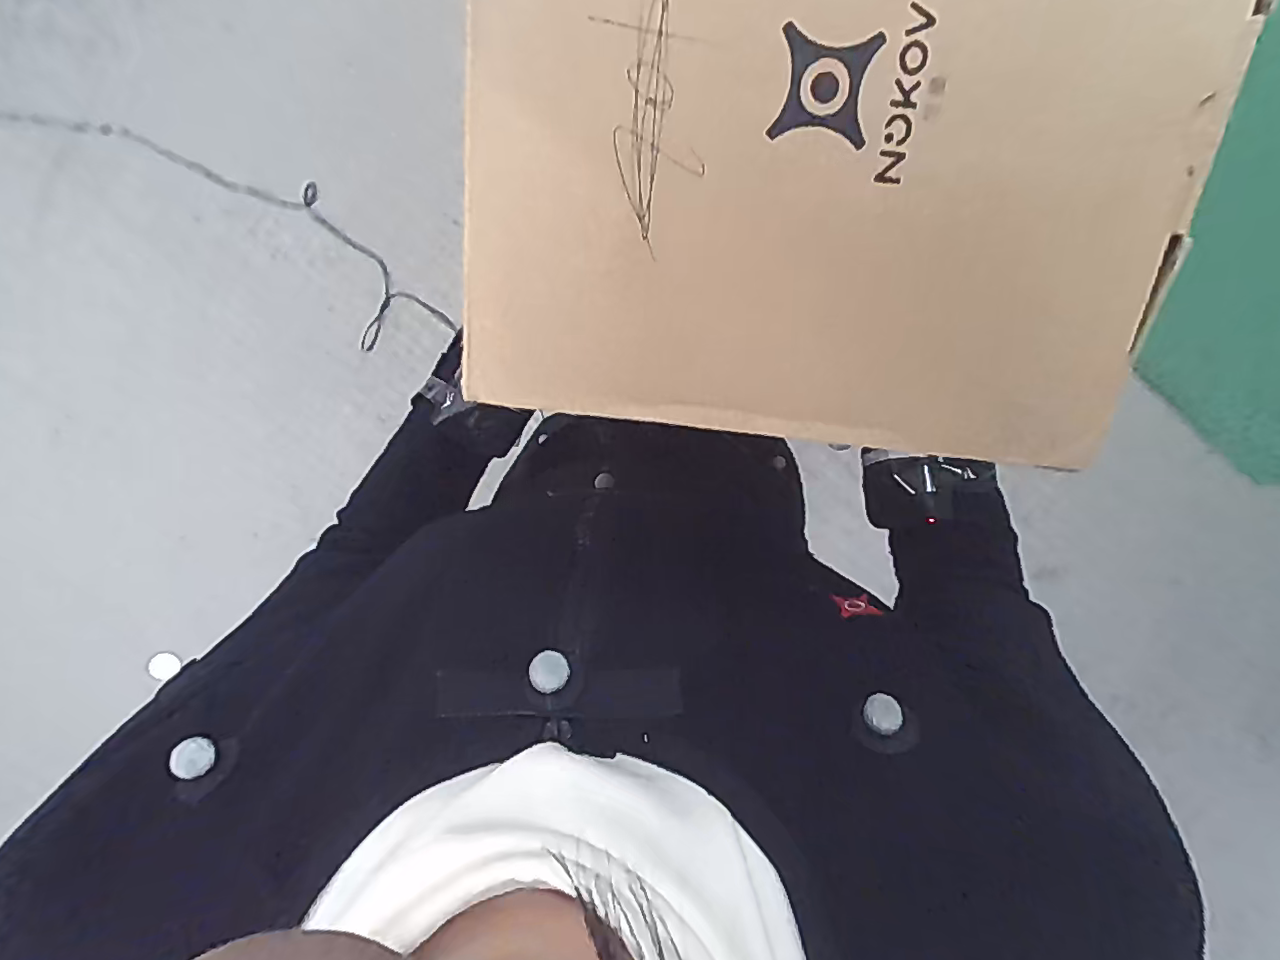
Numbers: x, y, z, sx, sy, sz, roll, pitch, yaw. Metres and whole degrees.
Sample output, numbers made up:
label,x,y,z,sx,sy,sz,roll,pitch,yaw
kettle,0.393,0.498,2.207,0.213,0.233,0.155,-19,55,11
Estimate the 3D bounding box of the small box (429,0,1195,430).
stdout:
label,x,y,z,sx,sy,sz,roll,pitch,yaw
small box,0.041,-0.121,0.203,0.179,0.176,0.168,5,106,3
